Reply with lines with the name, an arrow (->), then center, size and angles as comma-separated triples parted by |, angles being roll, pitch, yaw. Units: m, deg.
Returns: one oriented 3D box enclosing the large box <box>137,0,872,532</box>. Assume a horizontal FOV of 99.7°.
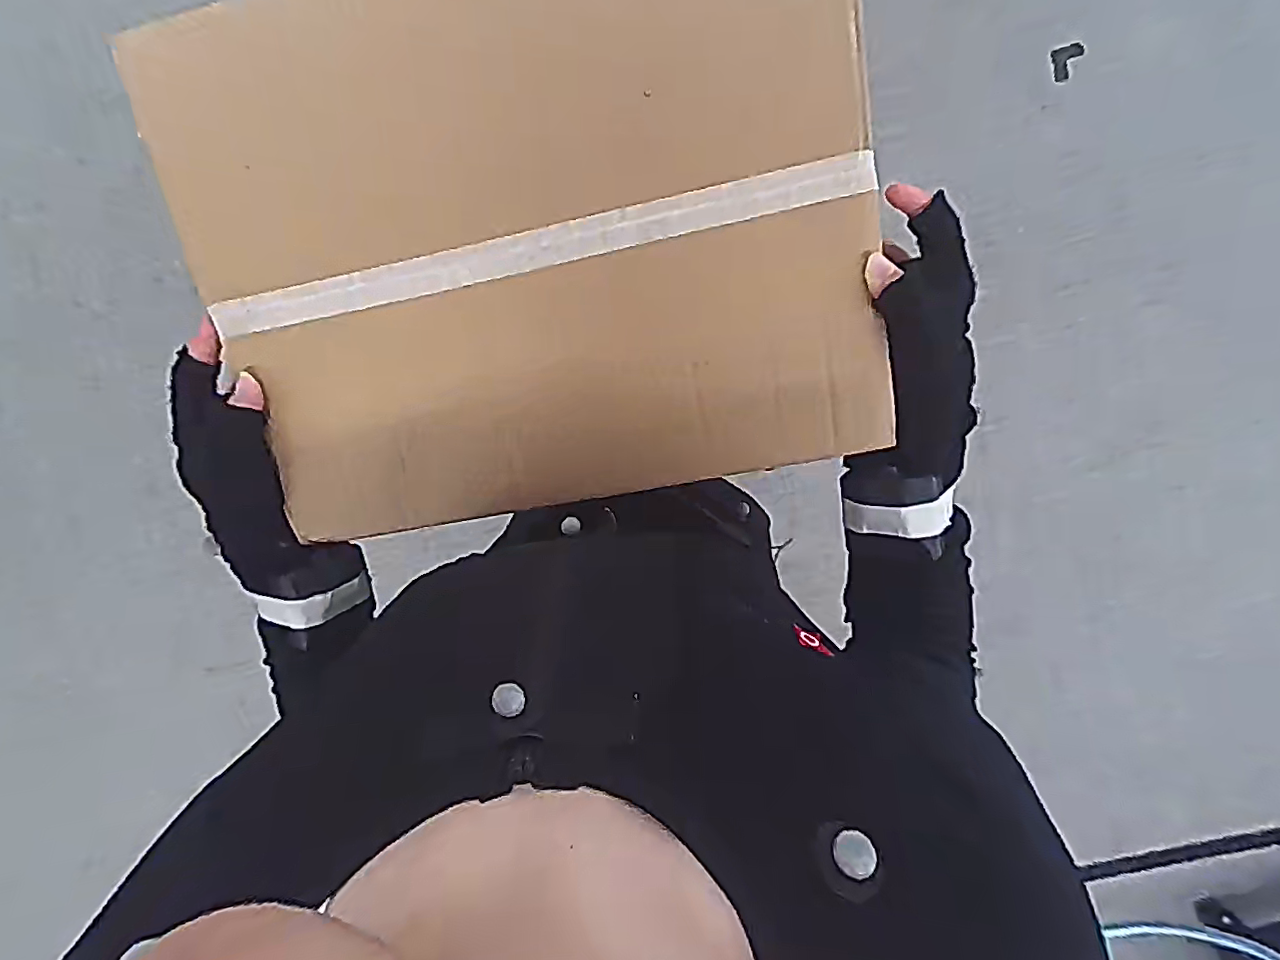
large box -> -0.063, -0.182, 0.474 | 0.408, 0.320, 0.320 | -10, 104, 6
